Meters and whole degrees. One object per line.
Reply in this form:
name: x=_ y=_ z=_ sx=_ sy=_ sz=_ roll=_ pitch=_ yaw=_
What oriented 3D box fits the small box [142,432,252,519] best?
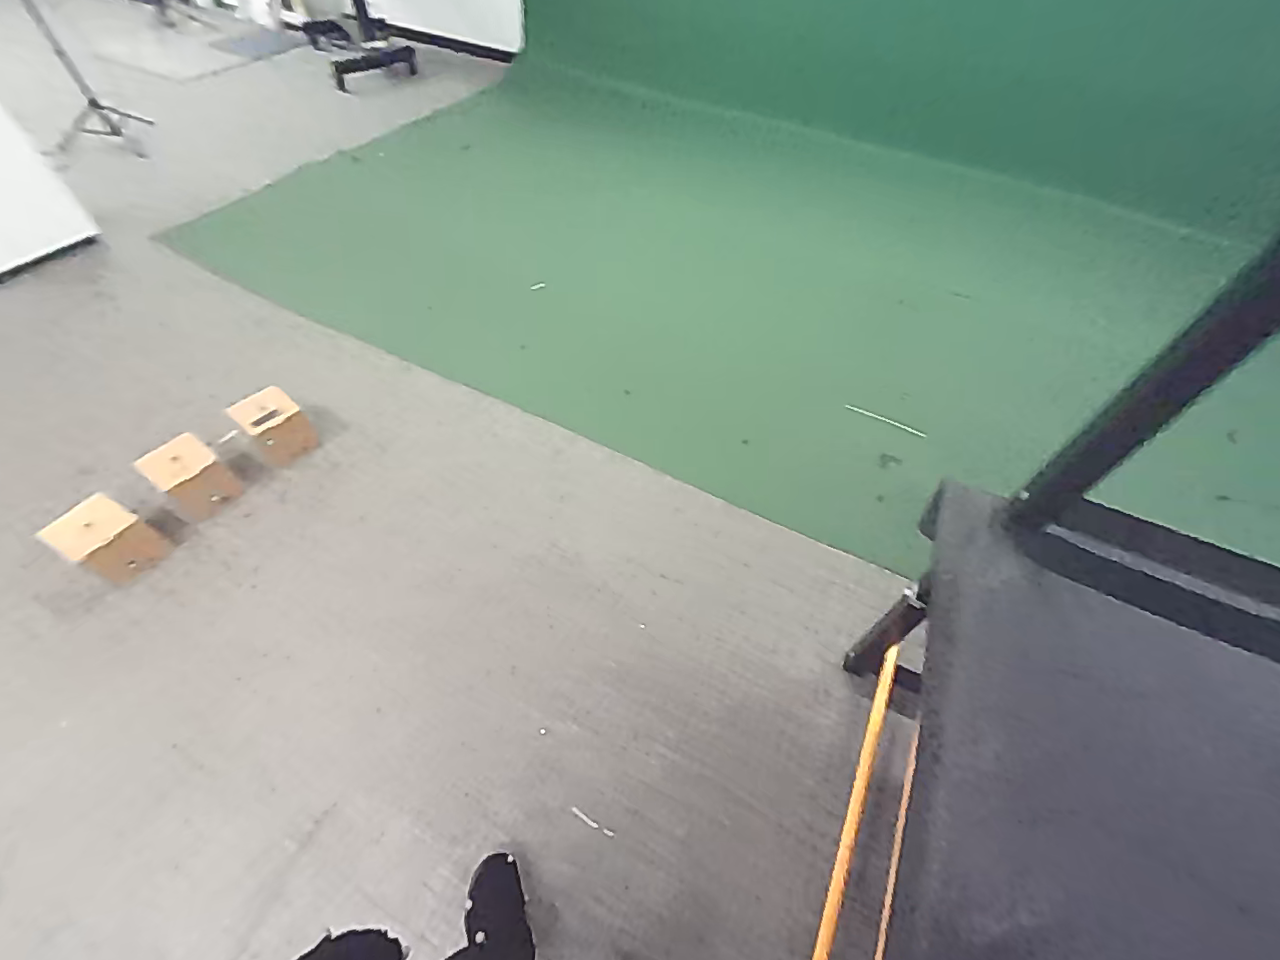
small box: x=-1.361 y=-0.011 z=1.670 sx=0.179 sy=0.176 sz=0.168 roll=32 pitch=58 yaw=19

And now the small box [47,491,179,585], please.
small box: x=-1.477 y=0.168 z=1.527 sx=0.179 sy=0.176 sz=0.168 roll=25 pitch=55 yaw=15
